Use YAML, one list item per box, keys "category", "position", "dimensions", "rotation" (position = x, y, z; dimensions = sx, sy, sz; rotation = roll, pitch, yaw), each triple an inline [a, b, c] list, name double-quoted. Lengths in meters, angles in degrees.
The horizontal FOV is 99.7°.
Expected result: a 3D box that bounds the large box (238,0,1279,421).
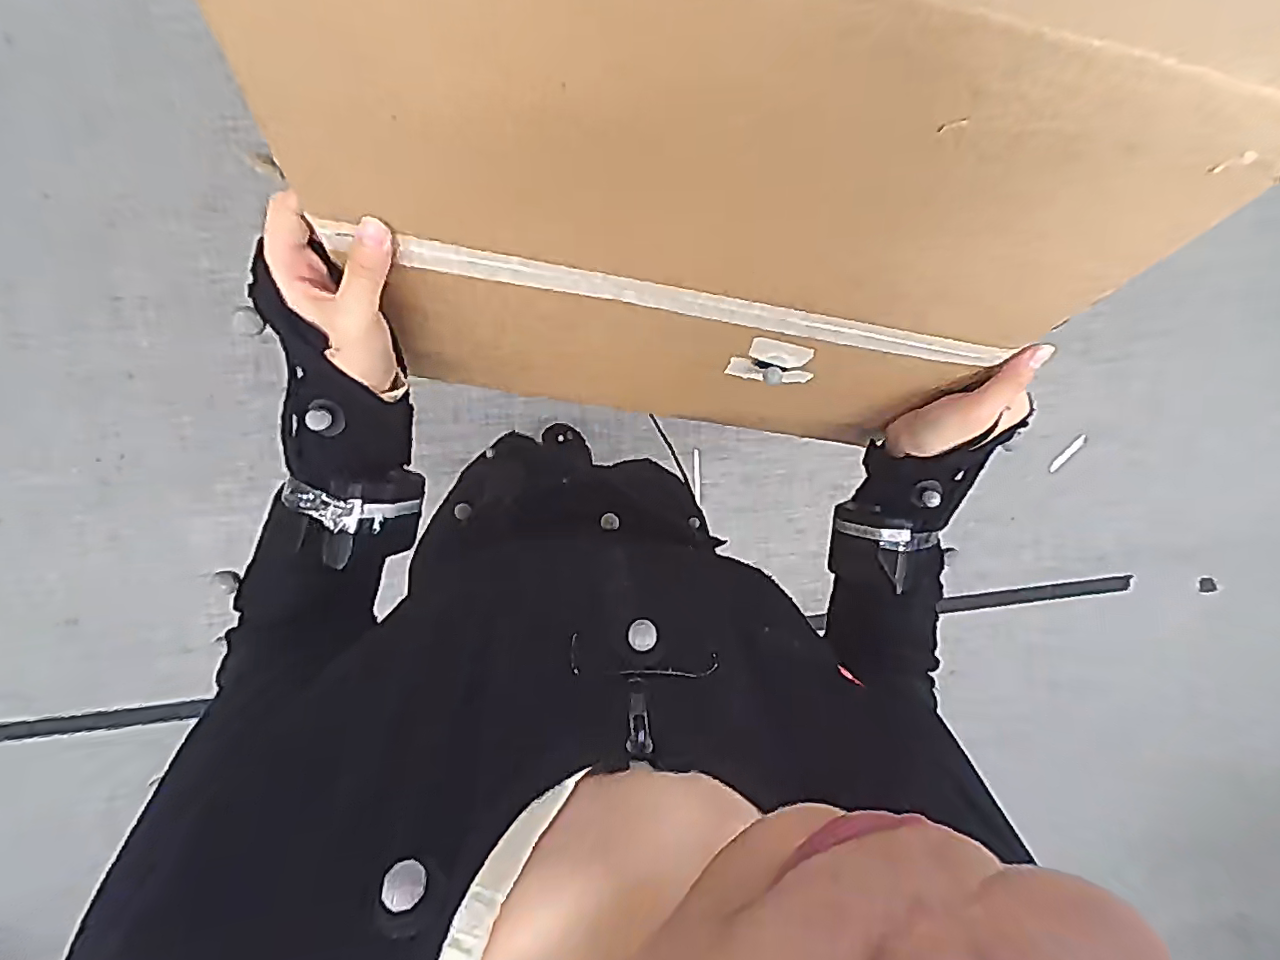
- category: "large box"
  position: [0.050, -0.260, 0.336]
  dimensions: [0.408, 0.320, 0.320]
  rotation: [7, 72, -8]
